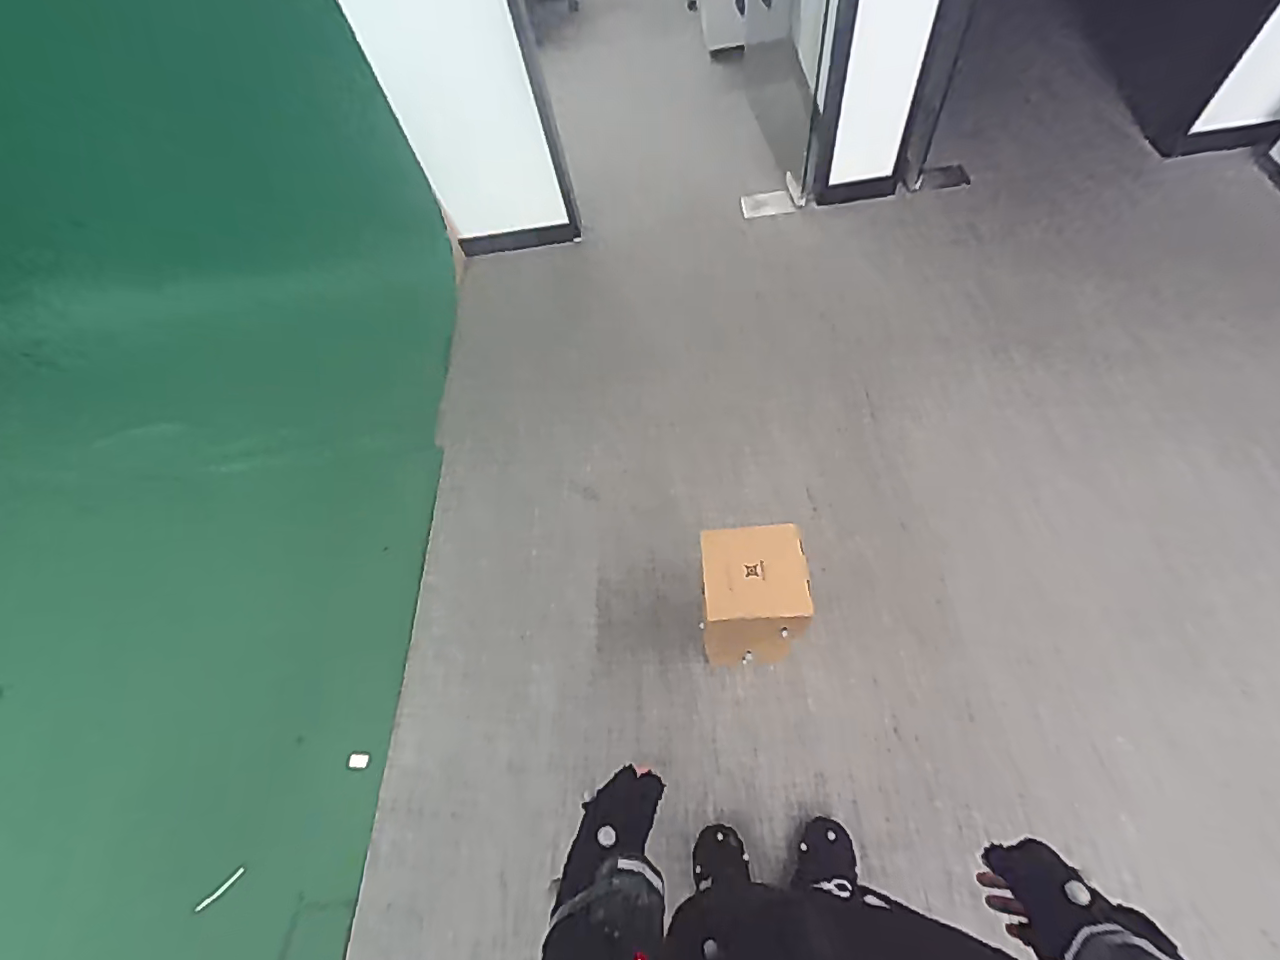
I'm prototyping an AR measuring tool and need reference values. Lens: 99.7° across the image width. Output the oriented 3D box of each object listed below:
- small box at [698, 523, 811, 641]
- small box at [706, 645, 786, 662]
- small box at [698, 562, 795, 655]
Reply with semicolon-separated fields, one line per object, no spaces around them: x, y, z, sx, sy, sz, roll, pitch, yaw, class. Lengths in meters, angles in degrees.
0.203;0.192;0.993;0.179;0.176;0.168;-6;60;7;small box
0.242;0.333;1.285;0.179;0.176;0.168;-6;61;8;small box
0.218;0.268;1.140;0.179;0.176;0.168;-6;62;7;small box
